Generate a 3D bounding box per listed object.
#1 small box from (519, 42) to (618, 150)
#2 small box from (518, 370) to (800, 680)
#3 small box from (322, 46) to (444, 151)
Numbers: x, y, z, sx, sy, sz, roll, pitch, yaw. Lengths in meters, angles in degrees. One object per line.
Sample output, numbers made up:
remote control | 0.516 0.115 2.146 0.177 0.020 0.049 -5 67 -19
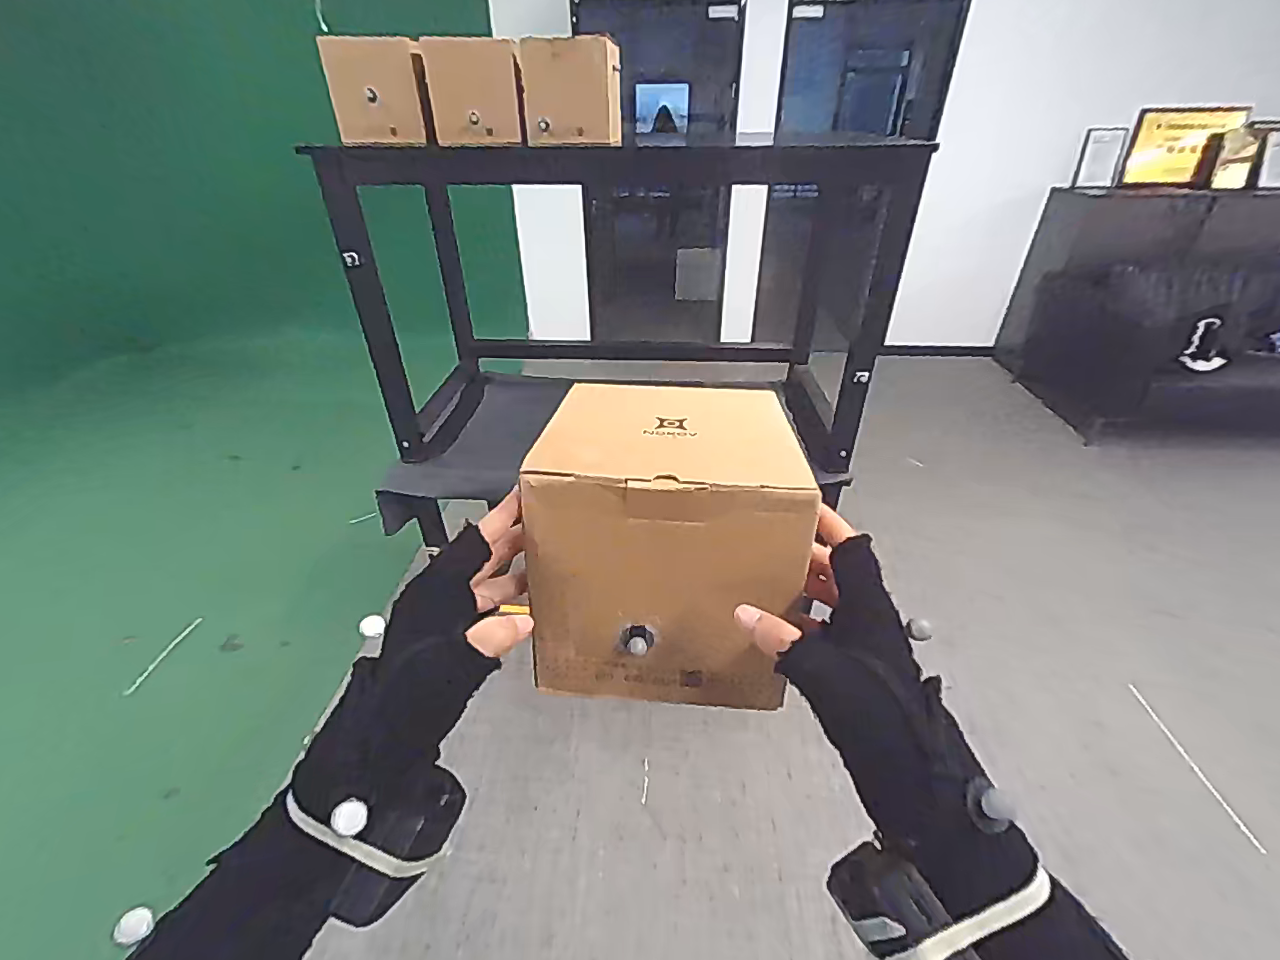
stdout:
small box | -0.137 -0.782 1.113 0.168 0.176 0.179 3 33 5
small box | 0.013 0.022 0.415 0.168 0.176 0.179 3 26 3
small box | -0.519 -0.785 1.123 0.168 0.176 0.179 -1 33 -4
